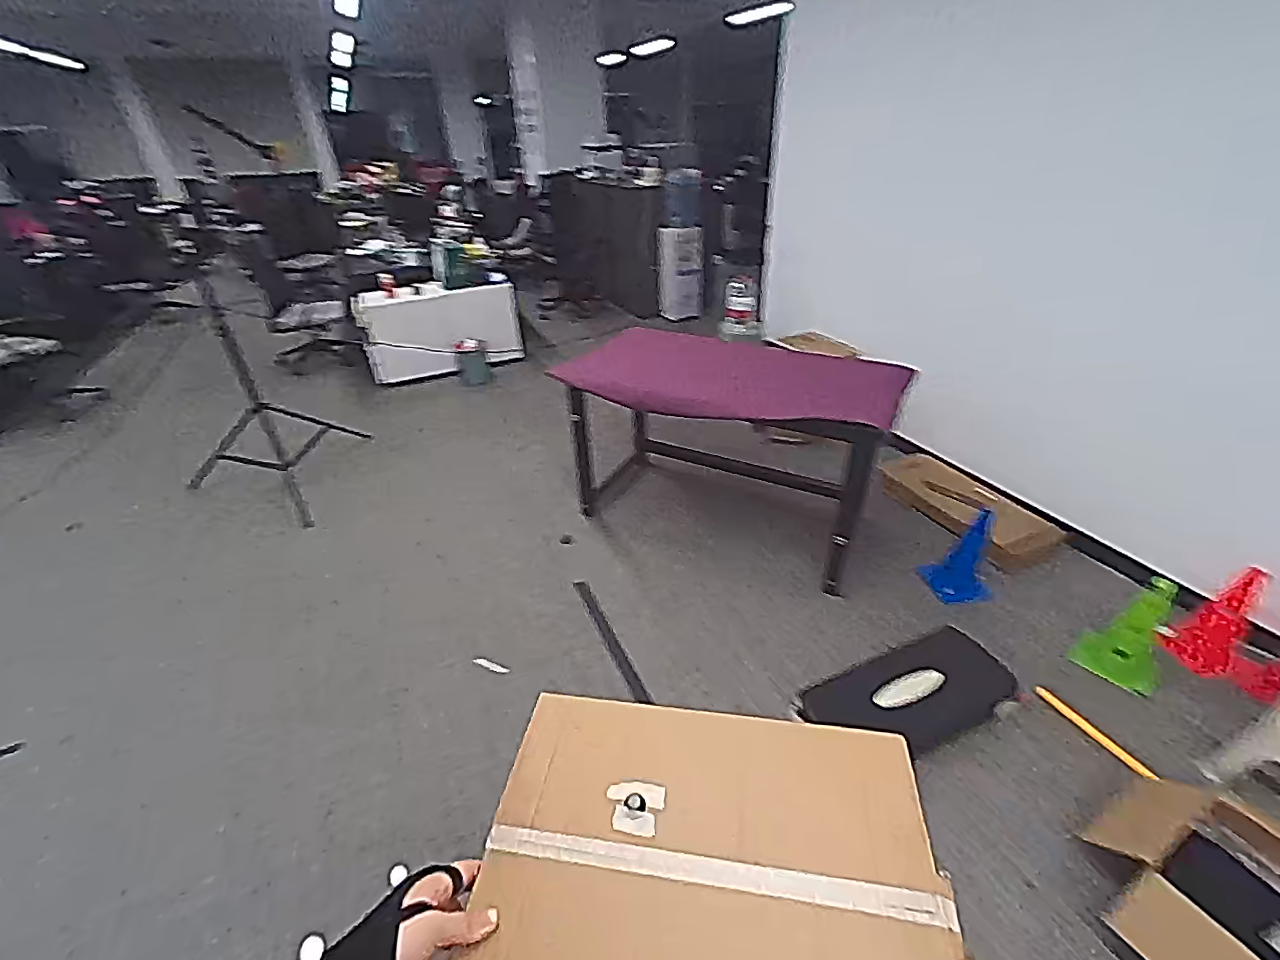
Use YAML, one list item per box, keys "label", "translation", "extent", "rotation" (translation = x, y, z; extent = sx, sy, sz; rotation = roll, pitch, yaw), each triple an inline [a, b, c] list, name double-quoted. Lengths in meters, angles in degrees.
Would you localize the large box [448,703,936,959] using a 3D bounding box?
- label: "large box"
  translation: [0.063, 0.476, 0.579]
  extent: [0.408, 0.320, 0.320]
  rotation: [0, 35, 11]
